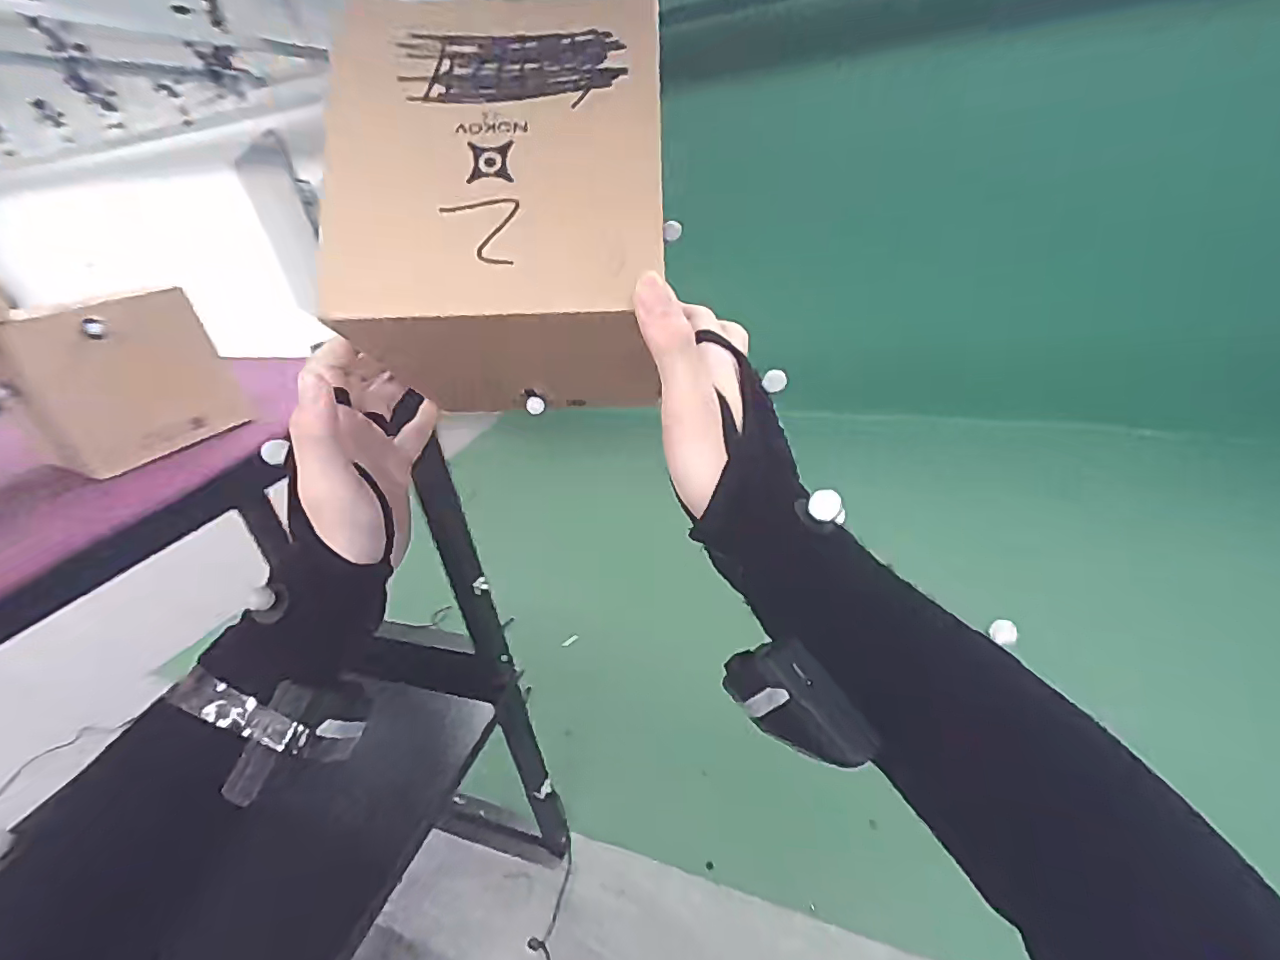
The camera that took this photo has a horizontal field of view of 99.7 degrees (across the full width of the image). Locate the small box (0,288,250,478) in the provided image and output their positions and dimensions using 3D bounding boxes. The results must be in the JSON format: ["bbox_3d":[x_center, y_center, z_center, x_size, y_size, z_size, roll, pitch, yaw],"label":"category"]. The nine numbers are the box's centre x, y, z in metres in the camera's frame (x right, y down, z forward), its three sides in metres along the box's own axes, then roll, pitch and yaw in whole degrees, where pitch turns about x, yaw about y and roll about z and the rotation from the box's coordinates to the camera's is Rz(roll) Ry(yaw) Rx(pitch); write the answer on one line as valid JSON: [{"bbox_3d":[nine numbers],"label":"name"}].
[{"bbox_3d":[-0.617,-0.116,0.634,0.179,0.176,0.168,7,34,28],"label":"small box"}]
